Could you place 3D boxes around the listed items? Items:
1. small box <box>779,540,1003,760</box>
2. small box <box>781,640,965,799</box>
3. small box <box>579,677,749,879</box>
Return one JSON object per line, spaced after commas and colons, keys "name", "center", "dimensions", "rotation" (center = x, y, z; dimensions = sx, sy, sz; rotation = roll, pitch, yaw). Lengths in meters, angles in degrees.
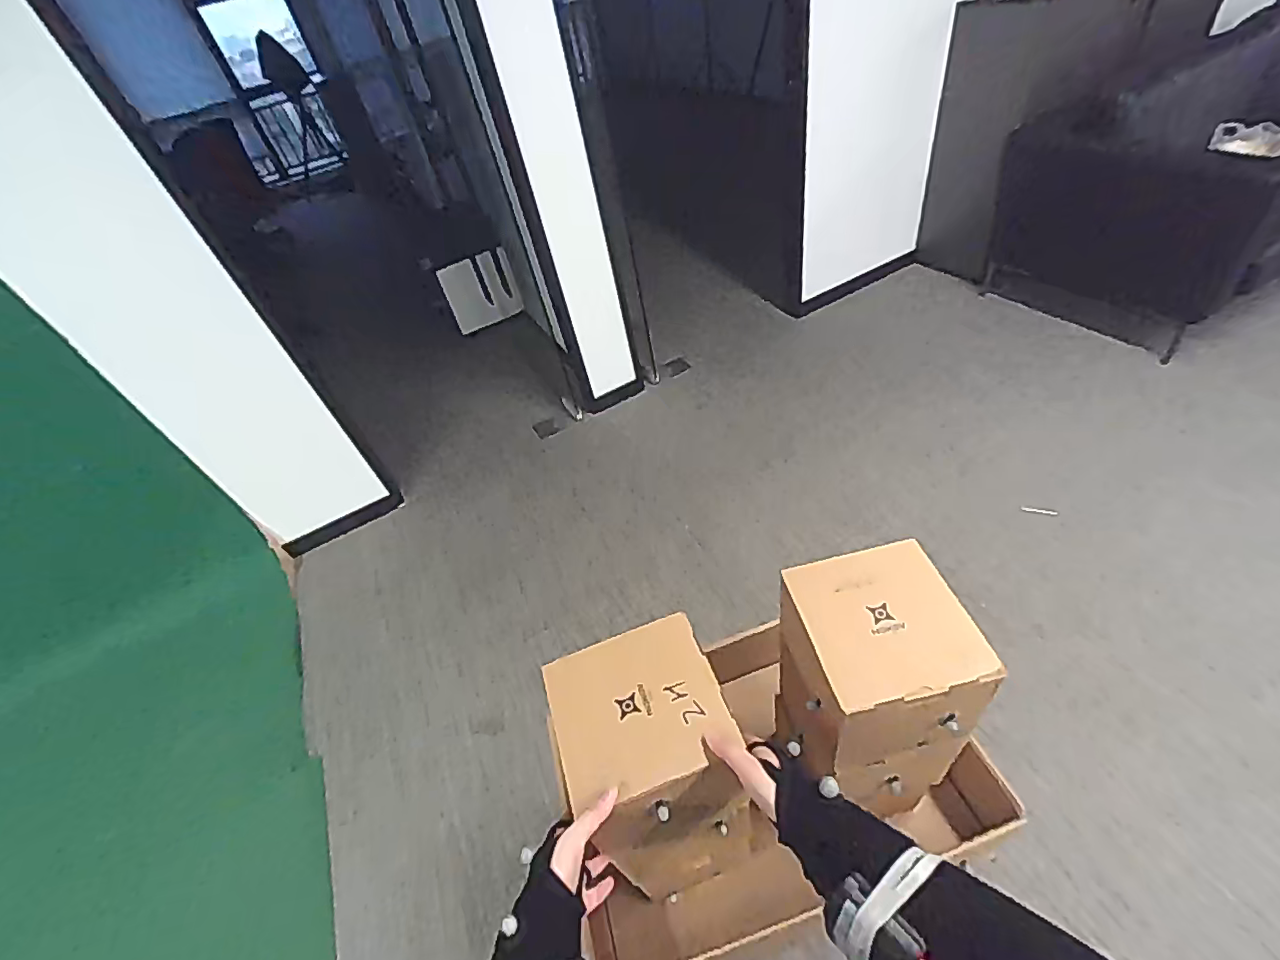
{"name": "small box", "center": [0.271, 0.203, 0.629], "dimensions": [0.168, 0.176, 0.179], "rotation": [-14, 43, 1]}
{"name": "small box", "center": [0.303, 0.316, 0.743], "dimensions": [0.168, 0.176, 0.179], "rotation": [-15, 45, 0]}
{"name": "small box", "center": [0.036, 0.406, 0.733], "dimensions": [0.179, 0.176, 0.168], "rotation": [-19, 44, -6]}
